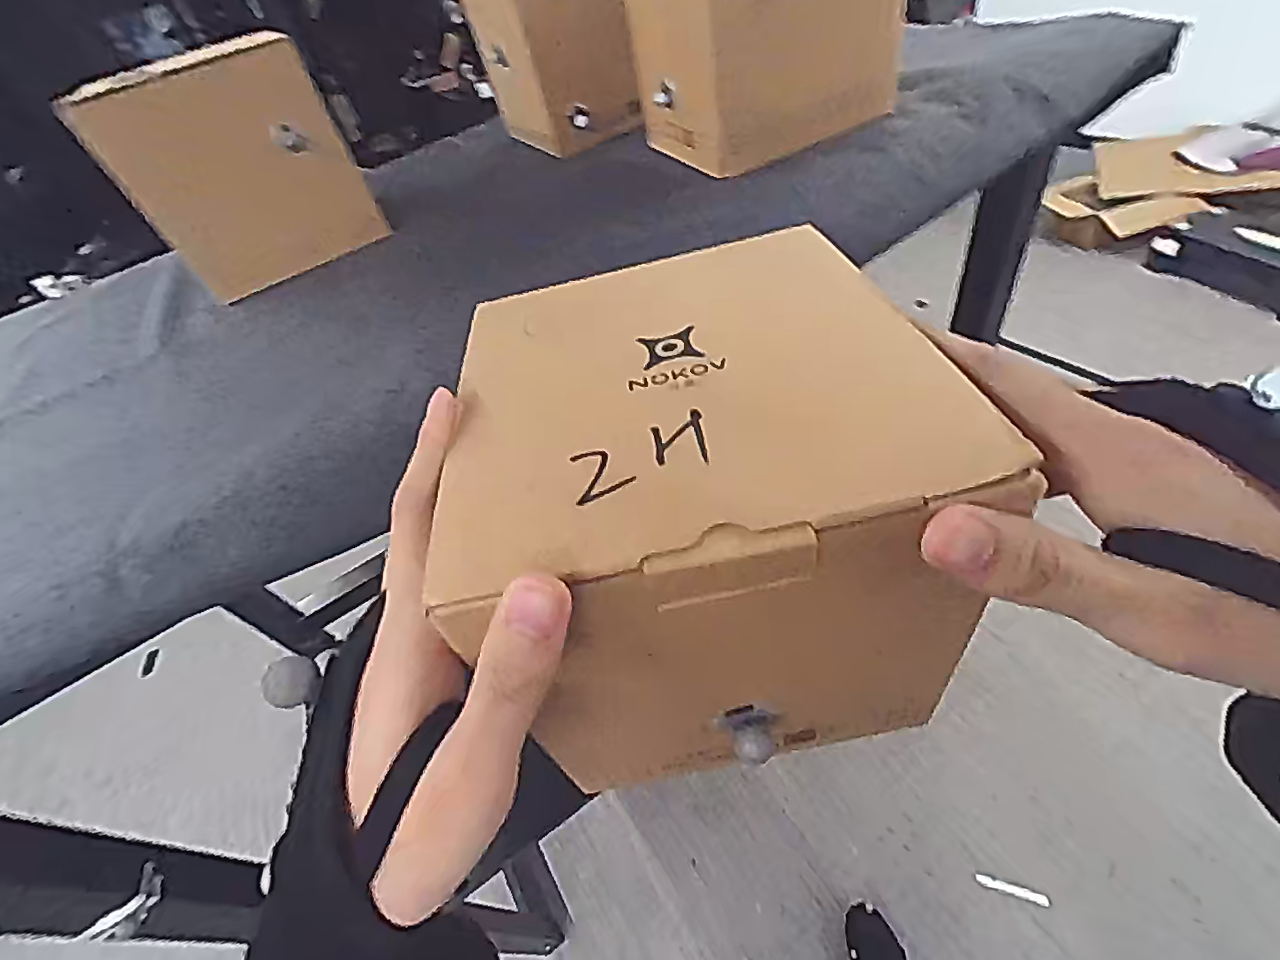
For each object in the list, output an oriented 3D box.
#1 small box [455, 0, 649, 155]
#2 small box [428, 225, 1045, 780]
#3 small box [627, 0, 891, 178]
[{"bbox_3d":[-0.087,-0.500,0.621,0.168,0.176,0.179,-31,47,-12],"label":"small box"},{"bbox_3d":[0.029,0.011,0.254,0.168,0.176,0.179,-13,45,4],"label":"small box"},{"bbox_3d":[0.096,-0.396,0.471,0.179,0.176,0.168,-26,45,-6],"label":"small box"}]
